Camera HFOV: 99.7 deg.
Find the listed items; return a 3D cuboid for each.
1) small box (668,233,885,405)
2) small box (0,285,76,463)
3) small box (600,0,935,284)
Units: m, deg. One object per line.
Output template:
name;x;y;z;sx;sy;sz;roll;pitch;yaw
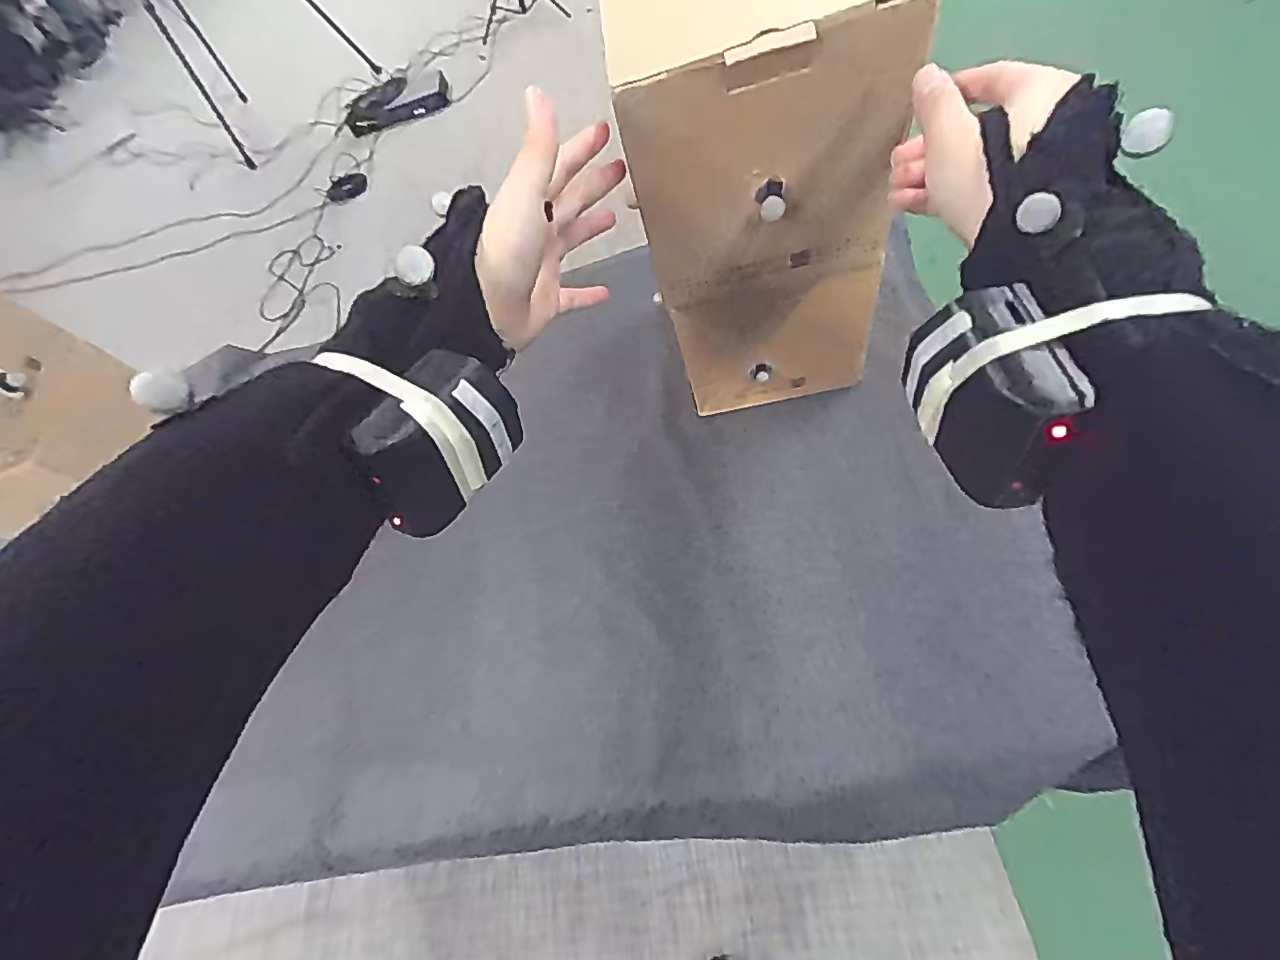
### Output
small box;0.114;-0.199;0.520;0.168;0.176;0.179;-11;64;10
small box;-0.702;-0.107;0.498;0.179;0.176;0.168;-16;64;5
small box;0.074;-0.261;0.373;0.168;0.176;0.179;-10;65;9
